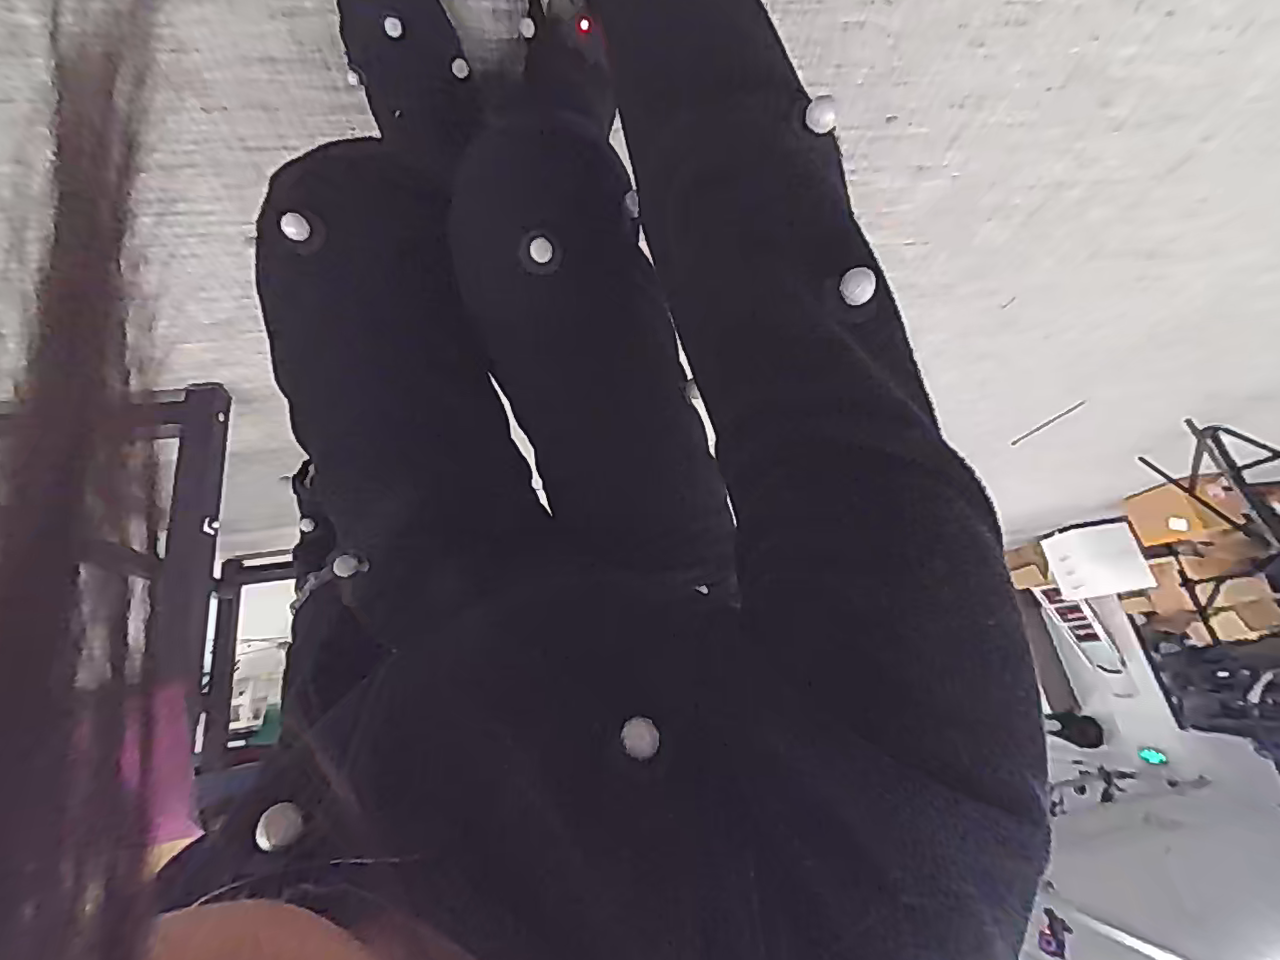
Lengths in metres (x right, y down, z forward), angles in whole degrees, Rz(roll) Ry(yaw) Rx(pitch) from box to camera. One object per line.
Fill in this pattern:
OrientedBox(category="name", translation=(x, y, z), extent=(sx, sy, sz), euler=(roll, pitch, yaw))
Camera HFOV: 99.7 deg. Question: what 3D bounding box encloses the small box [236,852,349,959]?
OrientedBox(category="small box", translation=(-0.764, 0.946, 1.196), extent=(0.179, 0.176, 0.168), euler=(-6, 160, -11))
